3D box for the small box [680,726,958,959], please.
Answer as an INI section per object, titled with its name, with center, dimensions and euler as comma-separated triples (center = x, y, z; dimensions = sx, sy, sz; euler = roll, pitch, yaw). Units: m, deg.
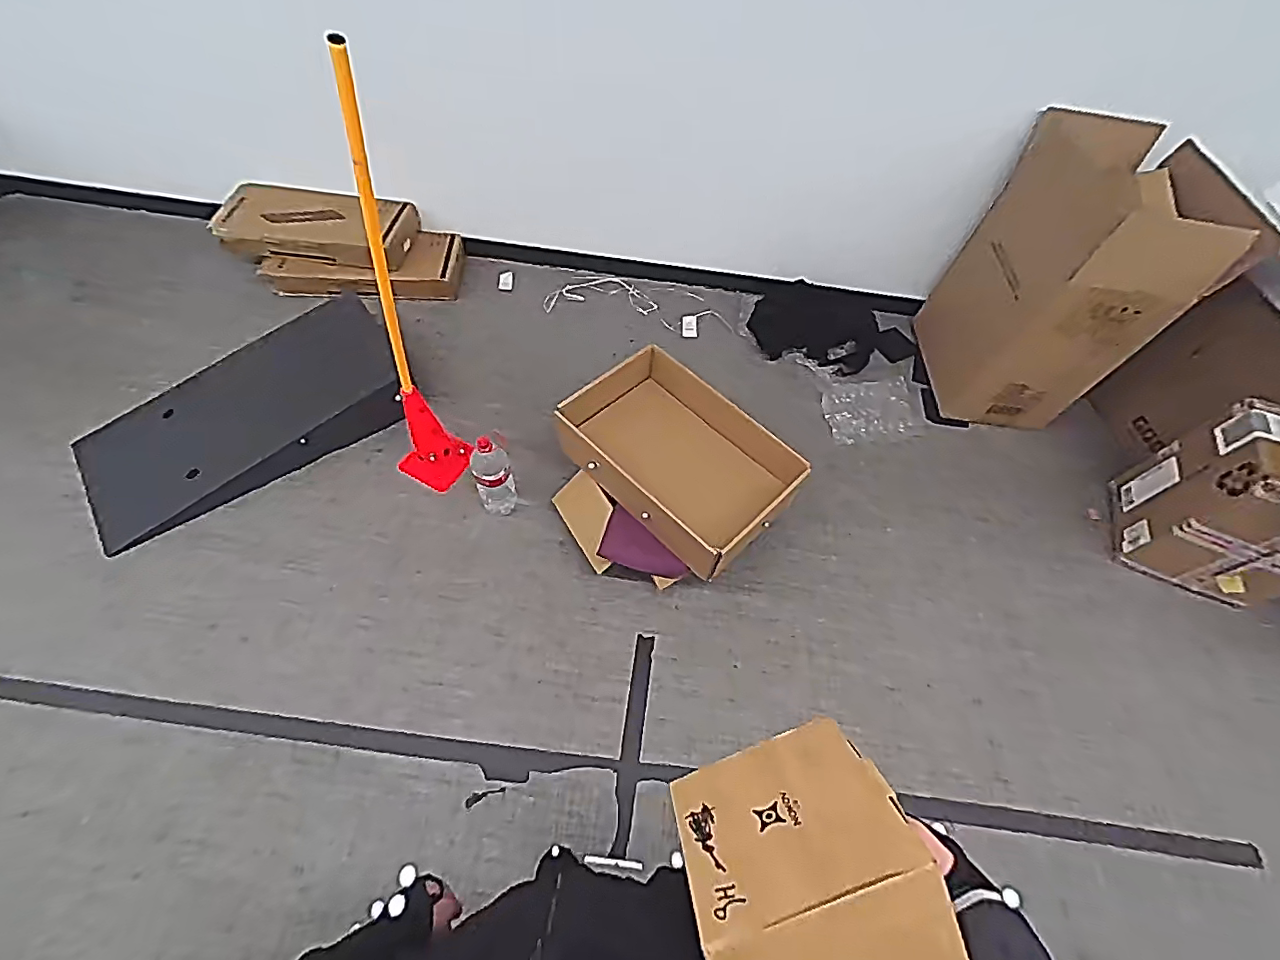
[small box]
center = 0.153, 0.364, 0.479
dimensions = 0.179, 0.168, 0.176
euler = -21, 100, -2
